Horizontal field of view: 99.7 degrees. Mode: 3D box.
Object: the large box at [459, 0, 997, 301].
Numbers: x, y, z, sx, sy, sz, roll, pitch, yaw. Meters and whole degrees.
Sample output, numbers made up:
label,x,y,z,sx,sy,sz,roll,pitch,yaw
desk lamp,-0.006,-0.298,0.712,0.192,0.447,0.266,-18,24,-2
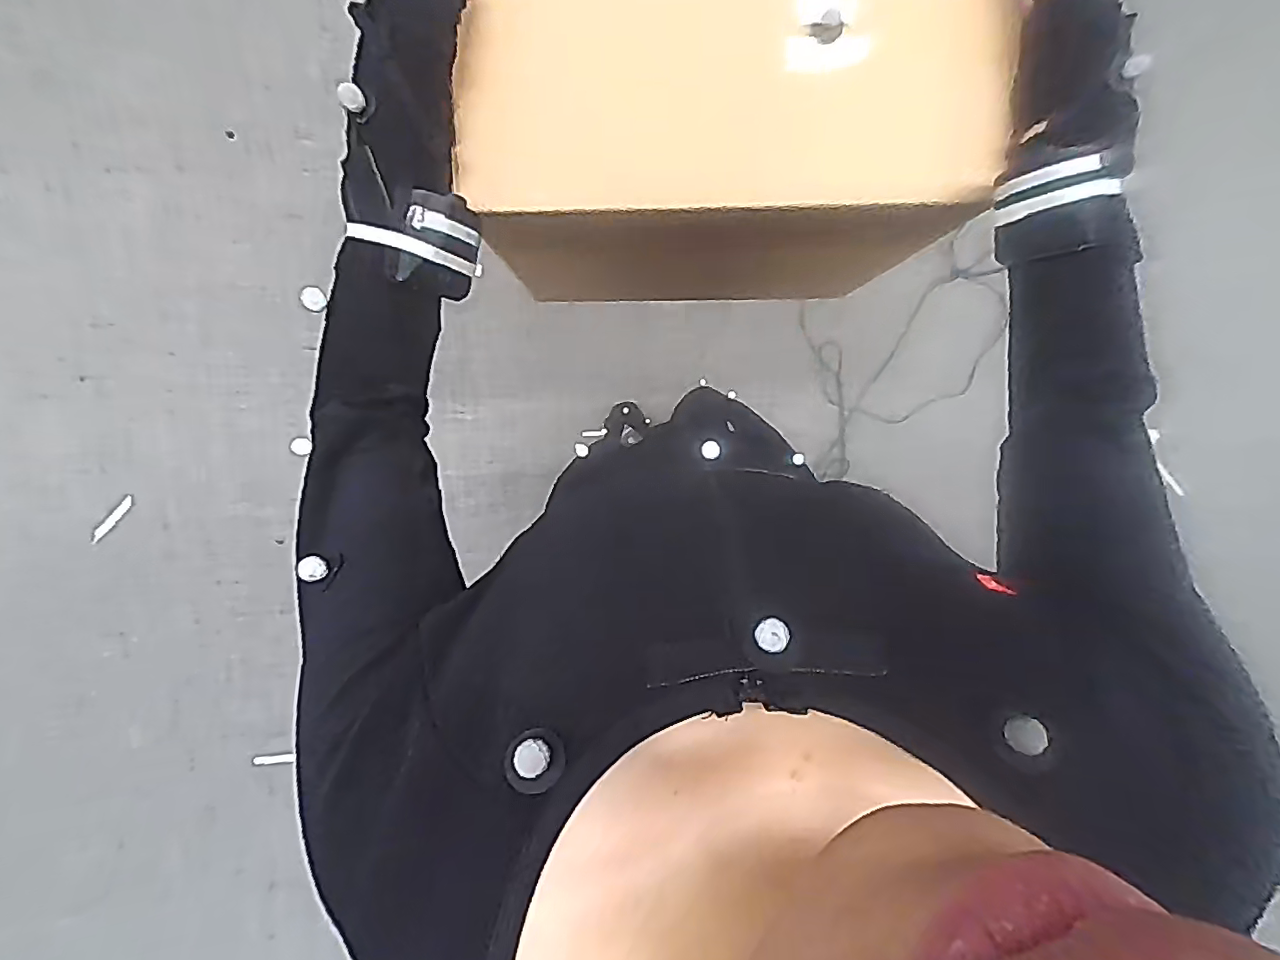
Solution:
label,x,y,z,sx,sy,sz,roll,pitch,yaw
large box,0.062,-0.378,0.544,0.408,0.320,0.320,-1,96,0
